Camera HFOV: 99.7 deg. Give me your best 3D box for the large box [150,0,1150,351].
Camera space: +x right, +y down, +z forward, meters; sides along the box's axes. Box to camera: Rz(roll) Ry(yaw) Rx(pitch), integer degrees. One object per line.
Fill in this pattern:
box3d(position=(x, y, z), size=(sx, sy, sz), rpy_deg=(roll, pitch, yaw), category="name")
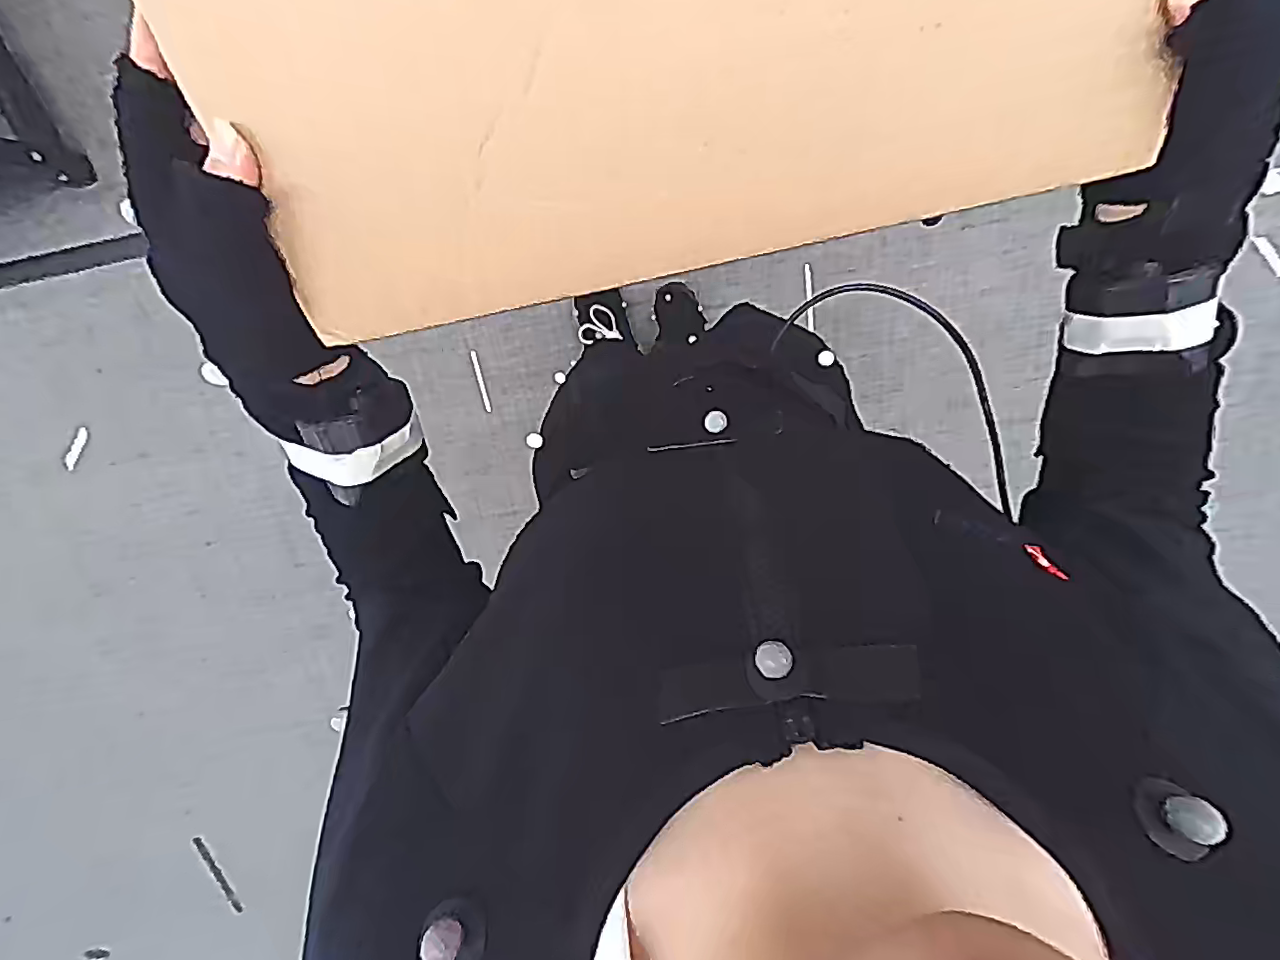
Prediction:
box3d(position=(-0.004, -0.314, 0.316), size=(0.408, 0.320, 0.320), rpy_deg=(-11, 122, 4), category="large box")
